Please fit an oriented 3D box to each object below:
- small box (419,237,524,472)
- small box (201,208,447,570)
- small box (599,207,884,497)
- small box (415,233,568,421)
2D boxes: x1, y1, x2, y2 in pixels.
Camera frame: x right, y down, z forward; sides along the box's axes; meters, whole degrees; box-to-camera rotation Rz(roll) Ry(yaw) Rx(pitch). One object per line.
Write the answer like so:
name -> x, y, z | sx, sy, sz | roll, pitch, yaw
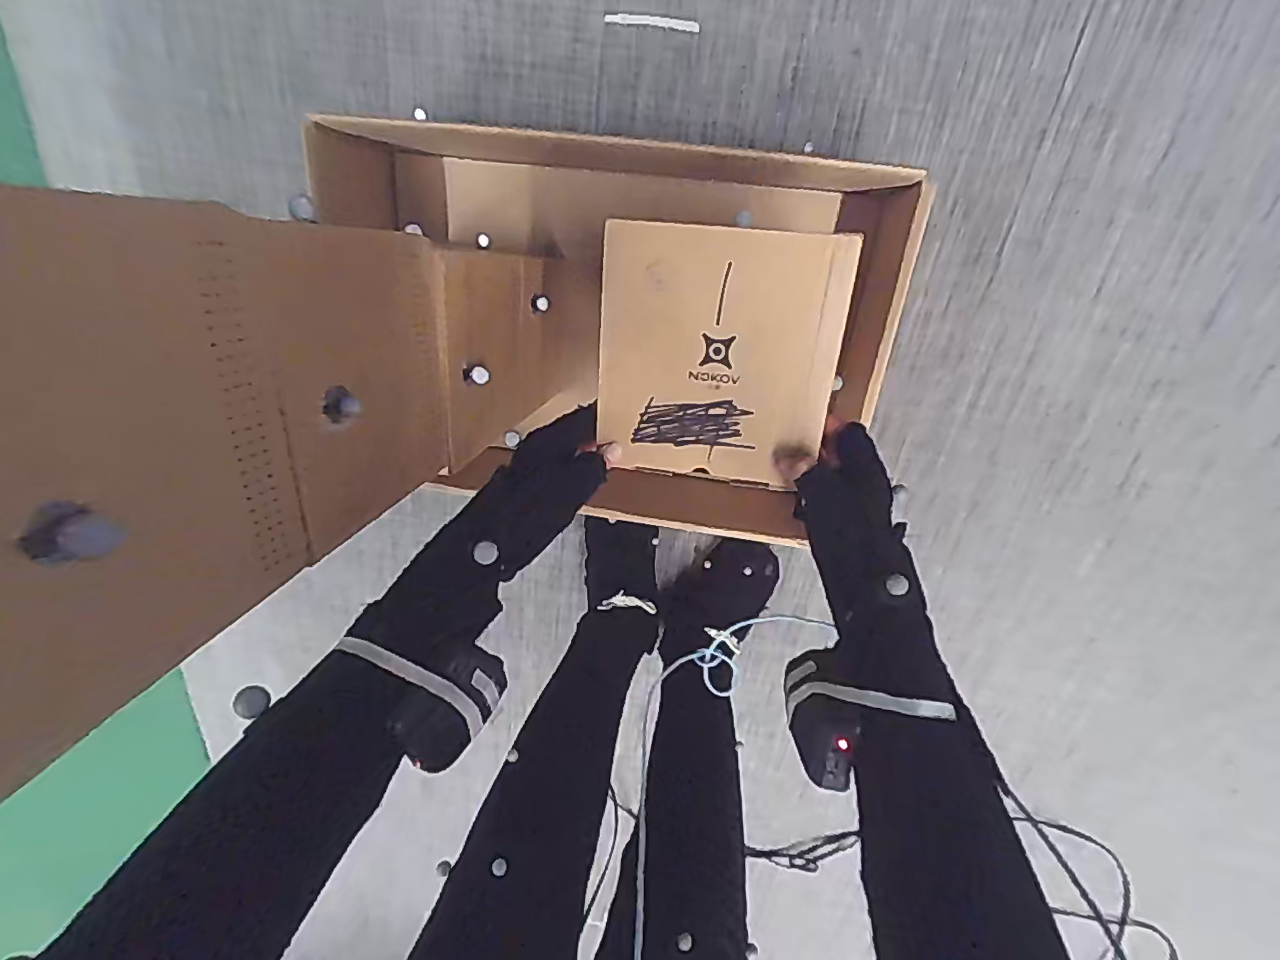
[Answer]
small box -> -0.211, -0.126, 0.489 | 0.168, 0.176, 0.179 | 8, 114, 5
small box -> -0.236, -0.070, 0.337 | 0.168, 0.176, 0.179 | 6, 113, 6
small box -> 0.071, -0.111, 0.440 | 0.168, 0.176, 0.179 | 10, 114, 5
small box -> -0.187, -0.187, 0.638 | 0.168, 0.176, 0.179 | 10, 114, 6
